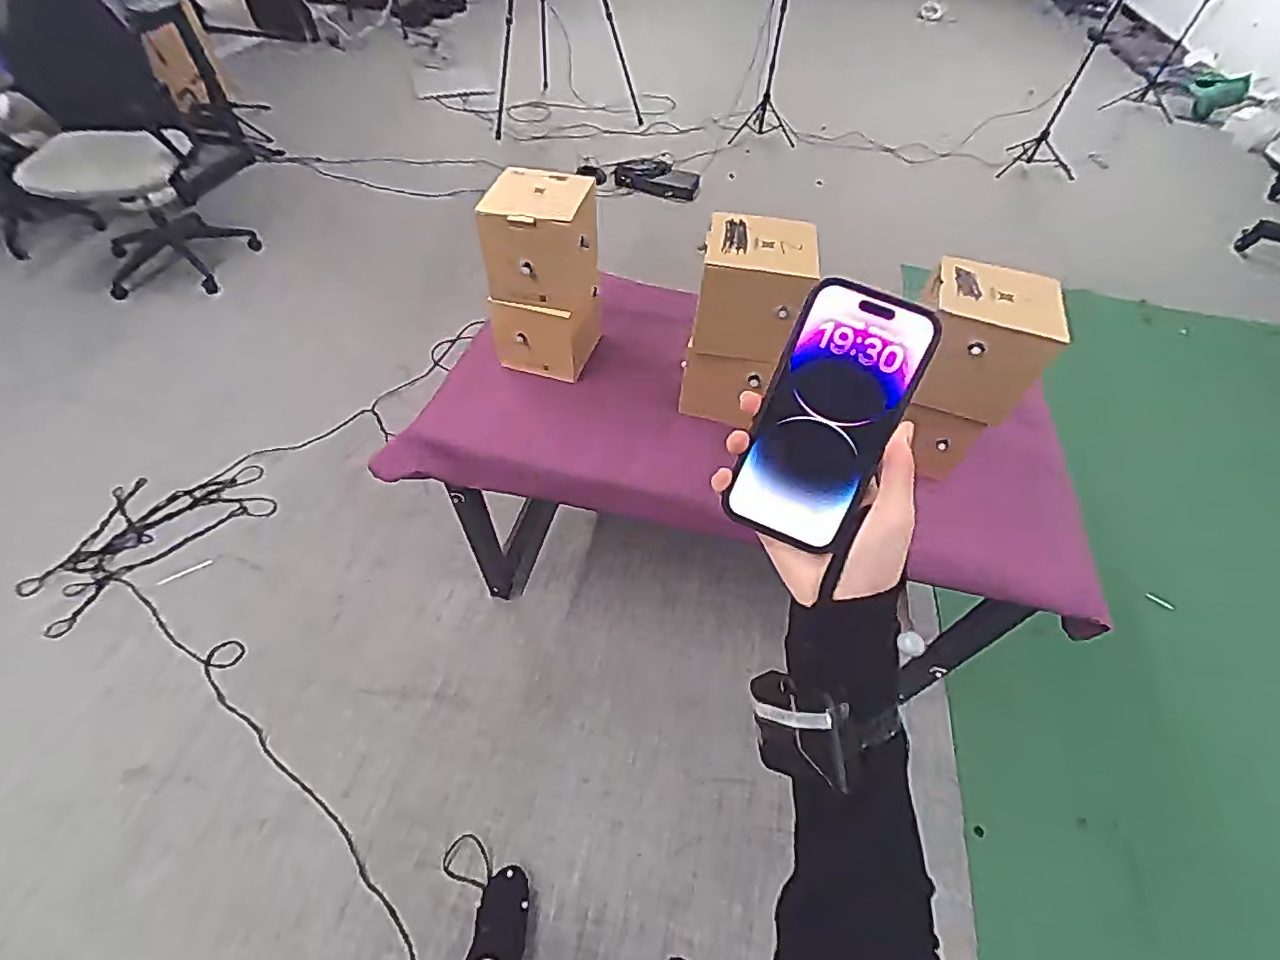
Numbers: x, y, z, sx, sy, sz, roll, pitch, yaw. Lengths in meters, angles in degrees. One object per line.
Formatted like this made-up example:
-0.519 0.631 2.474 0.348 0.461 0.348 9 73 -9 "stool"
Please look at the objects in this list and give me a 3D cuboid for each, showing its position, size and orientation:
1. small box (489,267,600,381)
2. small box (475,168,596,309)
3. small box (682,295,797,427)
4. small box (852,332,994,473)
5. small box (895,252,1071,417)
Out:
-0.183 -0.328 1.110 0.168 0.176 0.179 14 53 9 "small box"
-0.177 -0.436 0.986 0.168 0.176 0.179 10 53 5 "small box"
0.187 -0.225 1.040 0.179 0.176 0.168 13 53 9 "small box"
0.511 -0.136 0.983 0.179 0.176 0.168 18 53 13 "small box"
0.520 -0.224 0.844 0.179 0.176 0.168 18 53 11 "small box"
